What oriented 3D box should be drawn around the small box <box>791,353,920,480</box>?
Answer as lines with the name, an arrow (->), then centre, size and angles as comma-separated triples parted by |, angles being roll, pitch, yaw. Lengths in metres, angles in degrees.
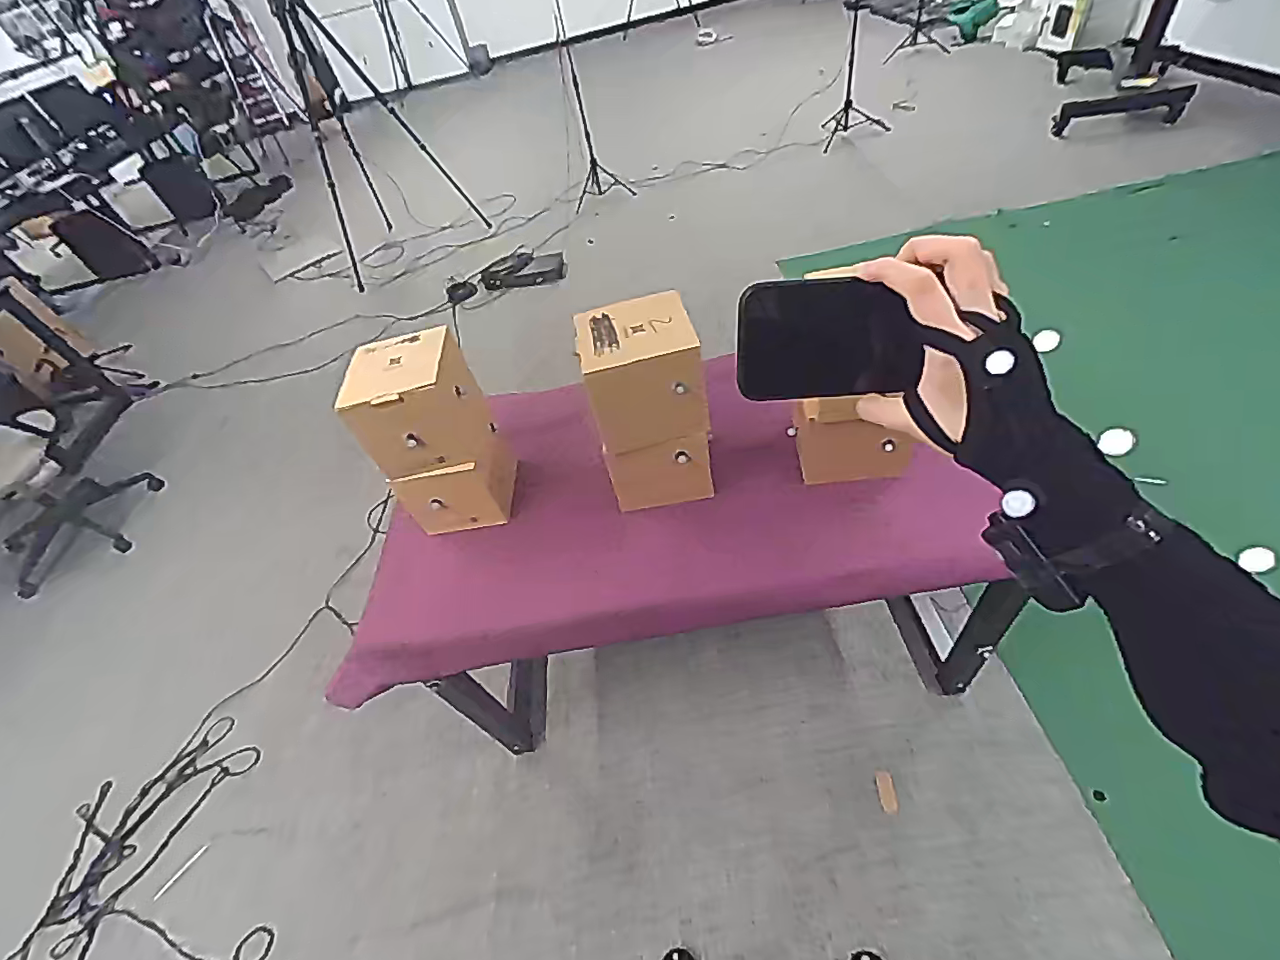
small box -> 0.367, -0.115, 0.955 | 0.179, 0.176, 0.168 | -4, 48, 11

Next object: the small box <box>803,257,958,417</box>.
small box -> 0.347, -0.211, 0.822 | 0.179, 0.176, 0.168 | -4, 49, 9

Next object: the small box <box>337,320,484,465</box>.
small box -> -0.383, -0.143, 0.937 | 0.168, 0.176, 0.179 | -12, 49, 2

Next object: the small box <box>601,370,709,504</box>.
small box -> 0.032, -0.075, 0.998 | 0.179, 0.176, 0.168 | -9, 48, 6

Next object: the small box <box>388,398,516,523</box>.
small box -> -0.353, -0.031, 1.054 | 0.168, 0.176, 0.179 | -8, 48, 6
